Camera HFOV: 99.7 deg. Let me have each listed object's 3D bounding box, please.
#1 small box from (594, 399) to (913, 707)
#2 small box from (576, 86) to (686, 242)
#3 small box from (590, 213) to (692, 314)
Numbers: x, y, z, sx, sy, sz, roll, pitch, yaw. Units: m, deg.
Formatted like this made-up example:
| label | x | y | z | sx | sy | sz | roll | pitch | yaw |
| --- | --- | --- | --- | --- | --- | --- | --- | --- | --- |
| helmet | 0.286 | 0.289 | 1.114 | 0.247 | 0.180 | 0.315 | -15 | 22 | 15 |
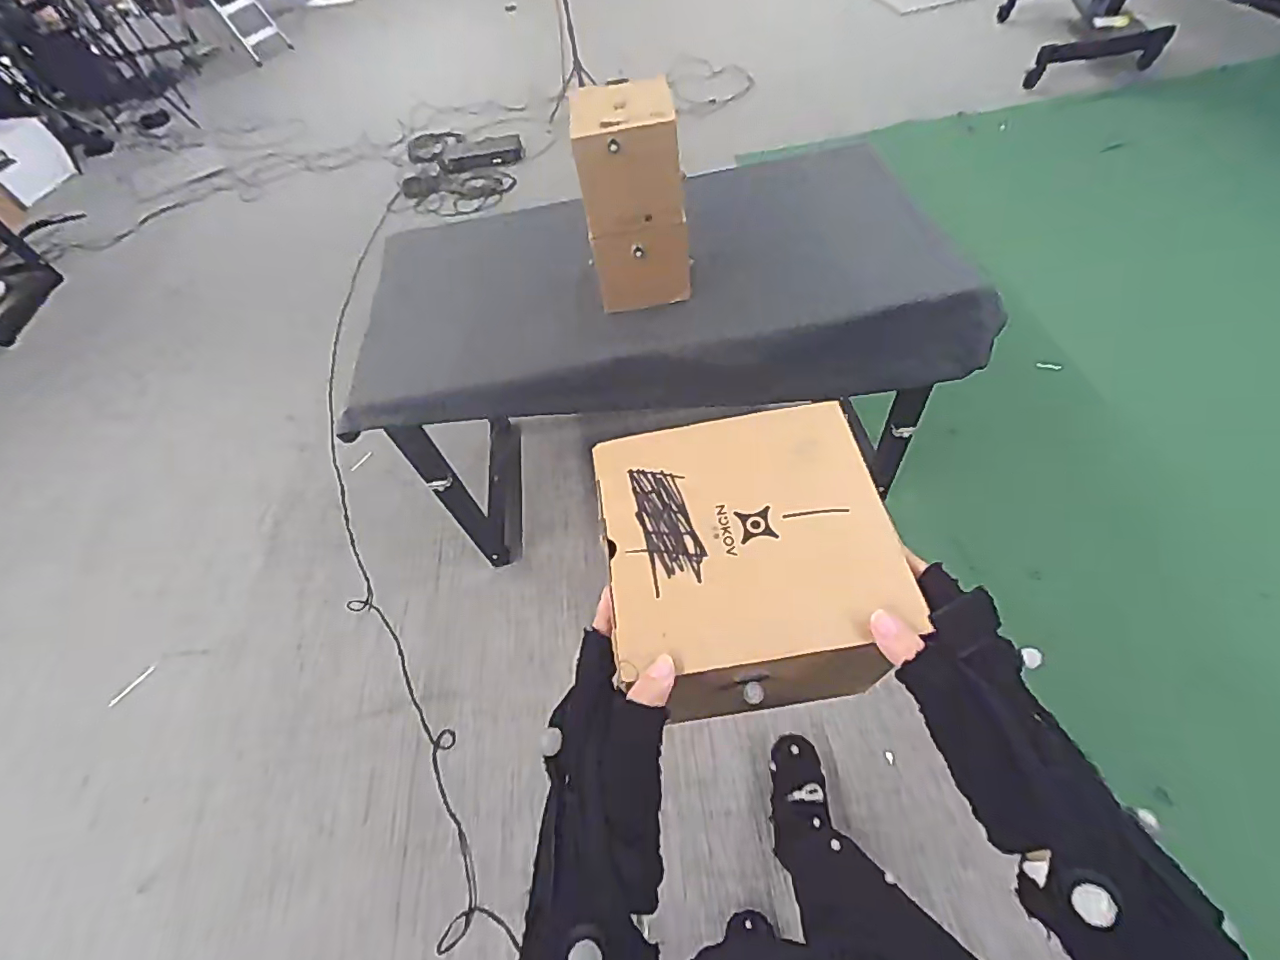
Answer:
| label | x | y | z | sx | sy | sz | roll | pitch | yaw |
| --- | --- | --- | --- | --- | --- | --- | --- | --- | --- |
| small box | 0.070 | 0.065 | 0.415 | 0.179 | 0.176 | 0.168 | -9 | 58 | 1 |
| small box | -0.014 | -0.544 | 0.937 | 0.168 | 0.176 | 0.179 | -9 | 55 | 1 |
| small box | 0.005 | -0.450 | 1.066 | 0.179 | 0.176 | 0.168 | -8 | 55 | 2 |
